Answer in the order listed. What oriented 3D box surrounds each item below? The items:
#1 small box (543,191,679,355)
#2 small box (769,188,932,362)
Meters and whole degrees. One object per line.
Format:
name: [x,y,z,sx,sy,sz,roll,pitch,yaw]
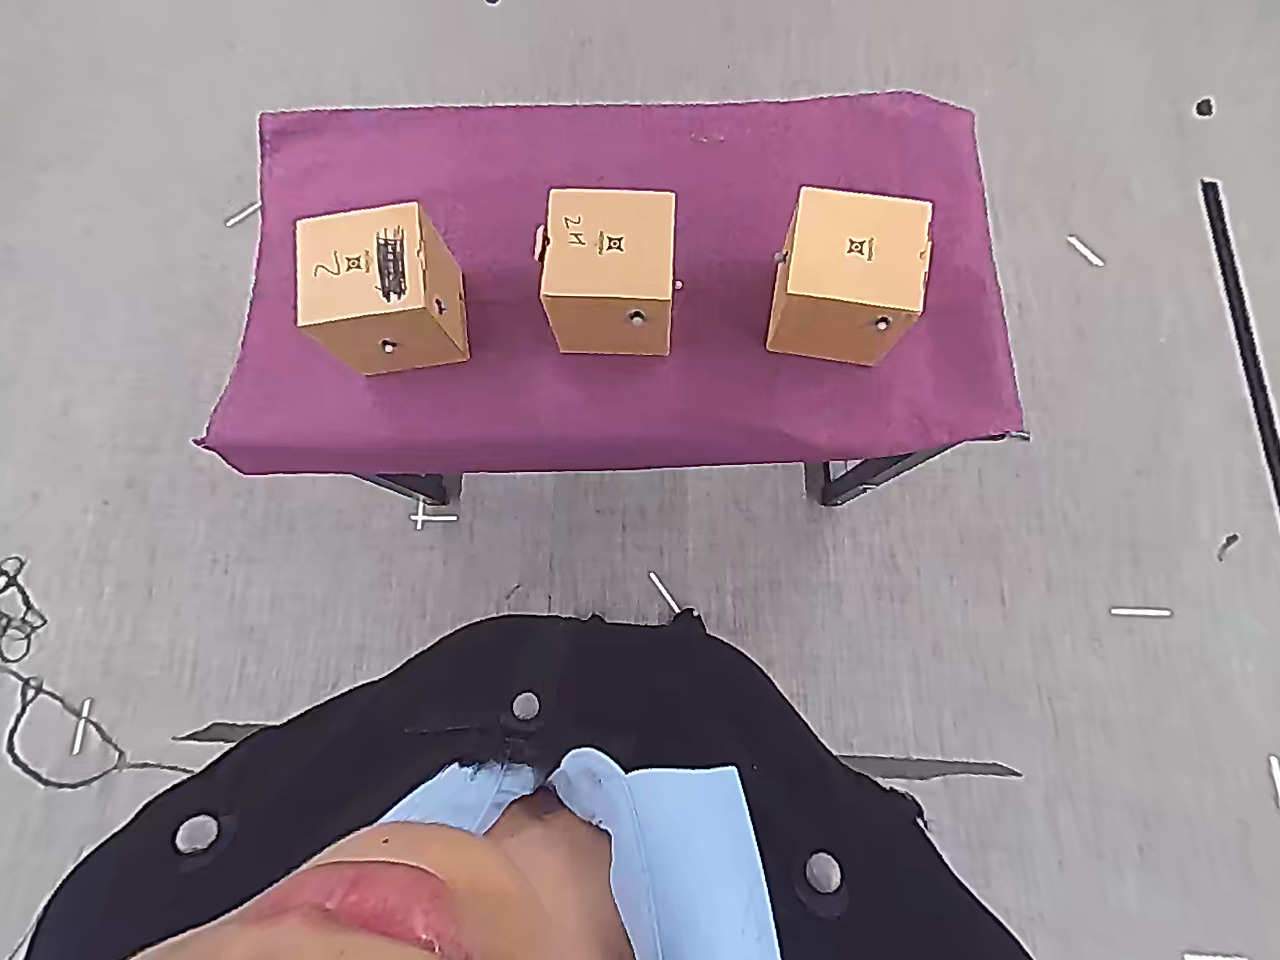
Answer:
small box: [-0.036,-0.297,0.803,0.179,0.176,0.168,2,77,3]
small box: [0.294,-0.288,0.788,0.179,0.176,0.168,10,78,4]
